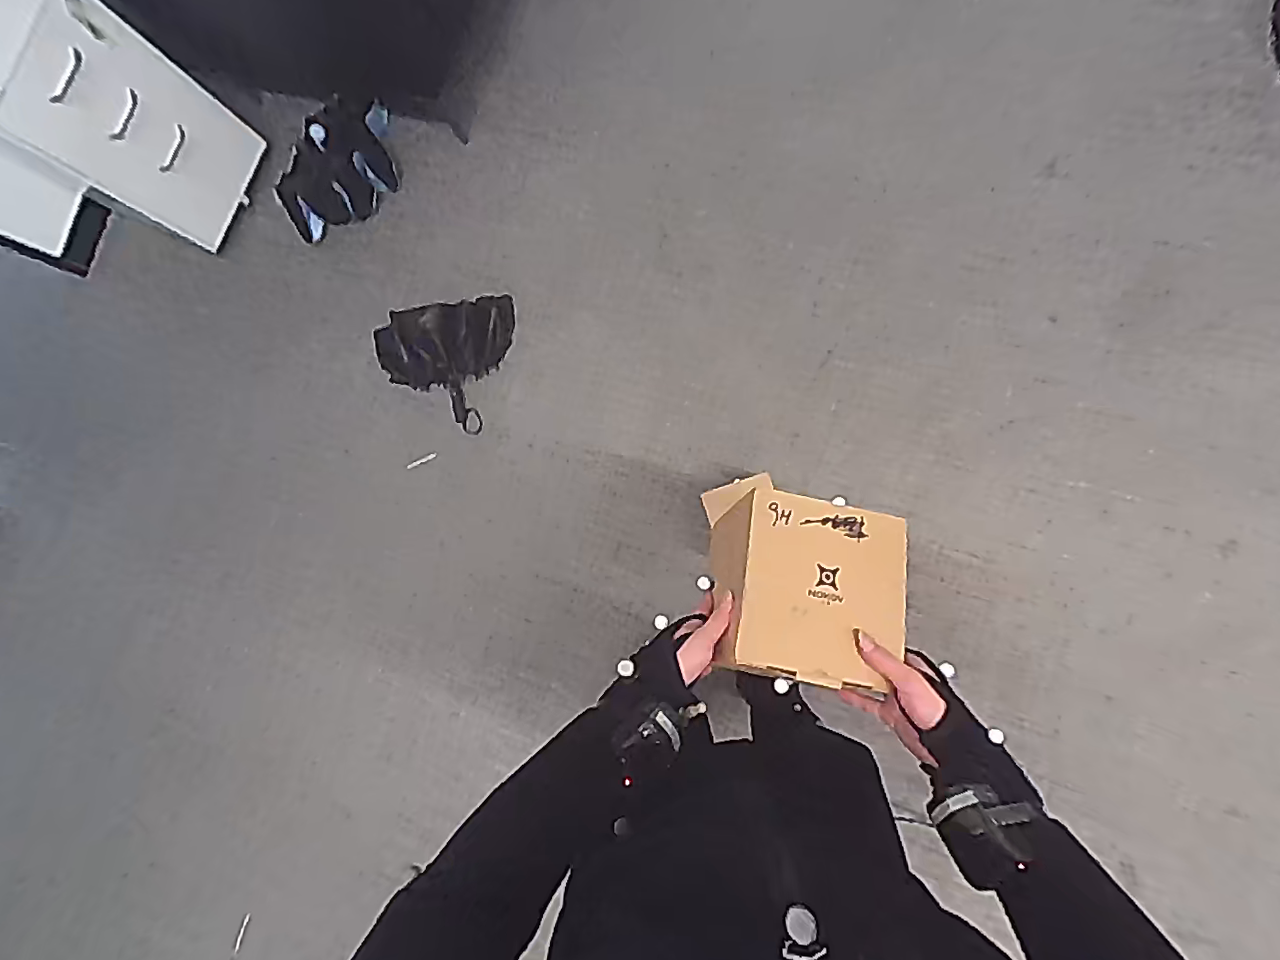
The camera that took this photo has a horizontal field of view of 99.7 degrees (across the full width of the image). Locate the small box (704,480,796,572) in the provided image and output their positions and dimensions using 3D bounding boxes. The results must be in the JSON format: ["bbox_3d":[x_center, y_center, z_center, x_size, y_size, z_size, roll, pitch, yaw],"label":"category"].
[{"bbox_3d":[0.267,0.115,1.315,0.168,0.176,0.179,-20,78,7],"label":"small box"}]
